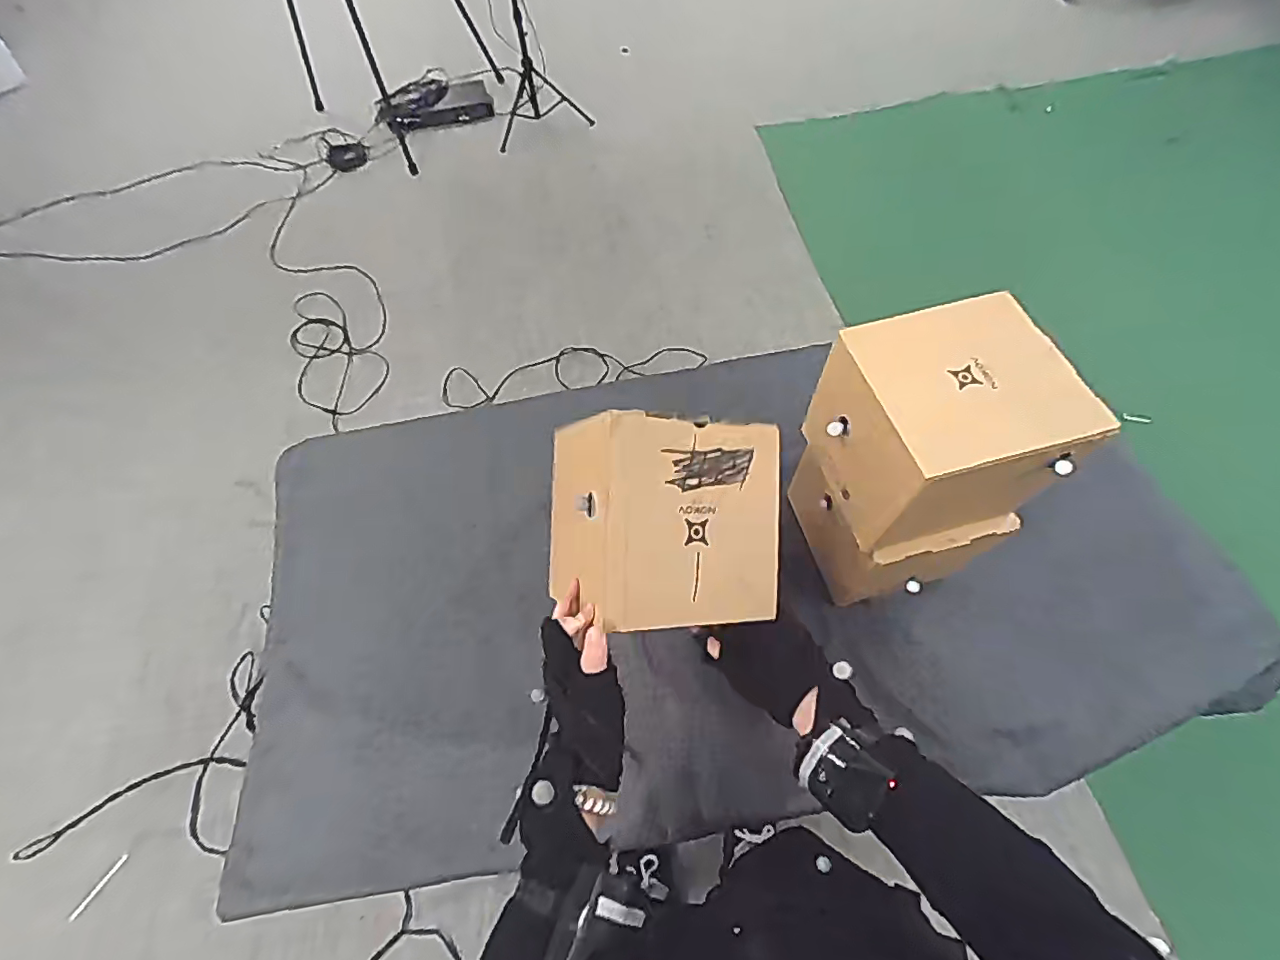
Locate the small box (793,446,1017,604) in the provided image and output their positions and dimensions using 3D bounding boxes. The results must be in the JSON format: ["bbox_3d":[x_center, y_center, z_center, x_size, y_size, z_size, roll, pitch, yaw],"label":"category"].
[{"bbox_3d":[0.308,0.035,0.679,0.168,0.176,0.179,-14,62,-3],"label":"small box"}]

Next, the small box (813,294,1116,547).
[{"bbox_3d":[0.289,-0.050,0.540,0.179,0.176,0.168,-14,62,-5],"label":"small box"}]
